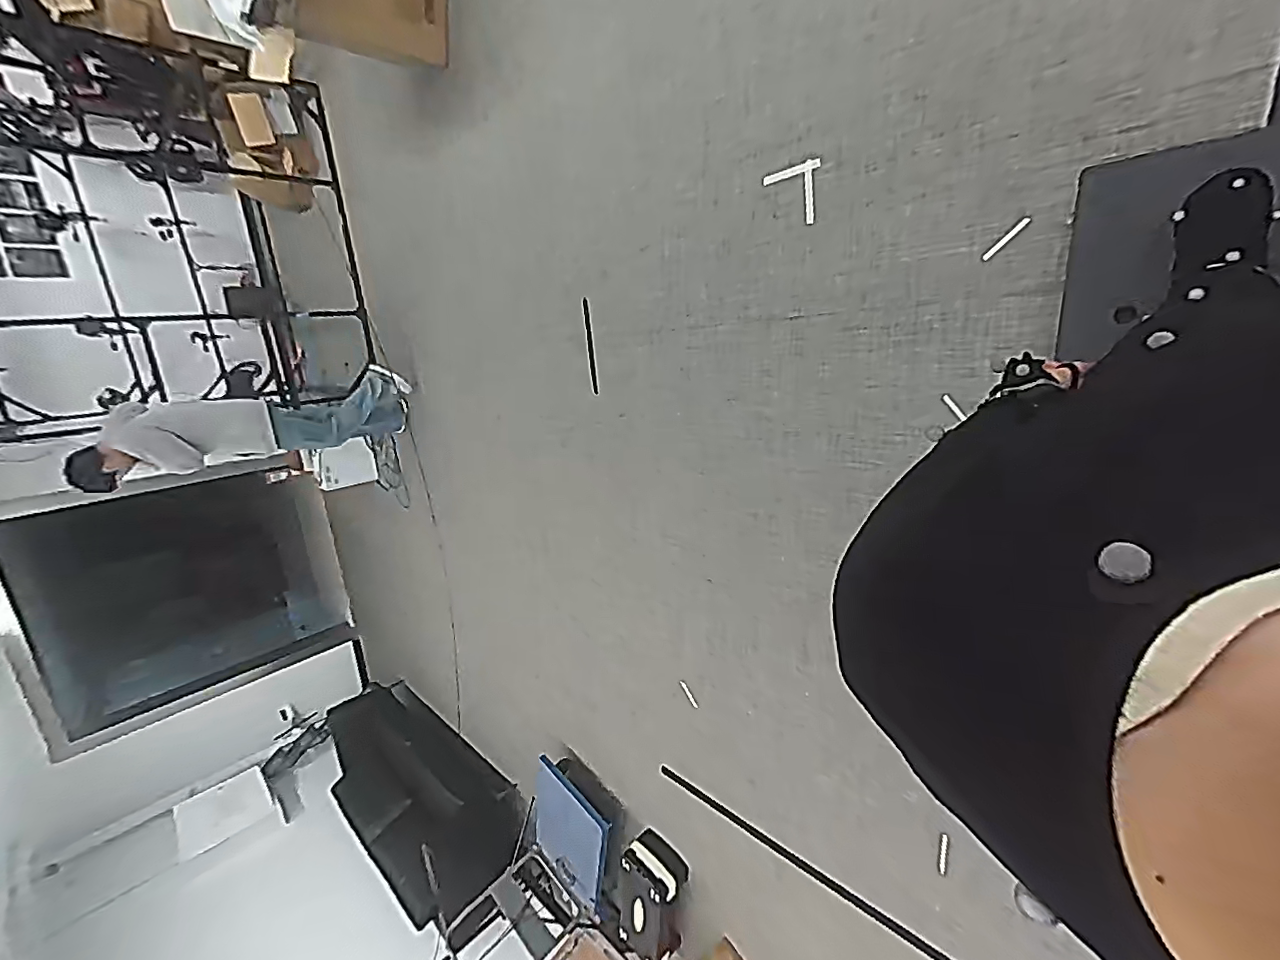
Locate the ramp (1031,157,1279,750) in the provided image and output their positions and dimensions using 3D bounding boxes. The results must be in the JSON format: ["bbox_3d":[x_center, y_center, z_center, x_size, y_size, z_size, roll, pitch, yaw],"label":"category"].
[{"bbox_3d":[1.046,-0.047,0.952,0.509,0.206,0.991,8,107,47],"label":"ramp"}]
